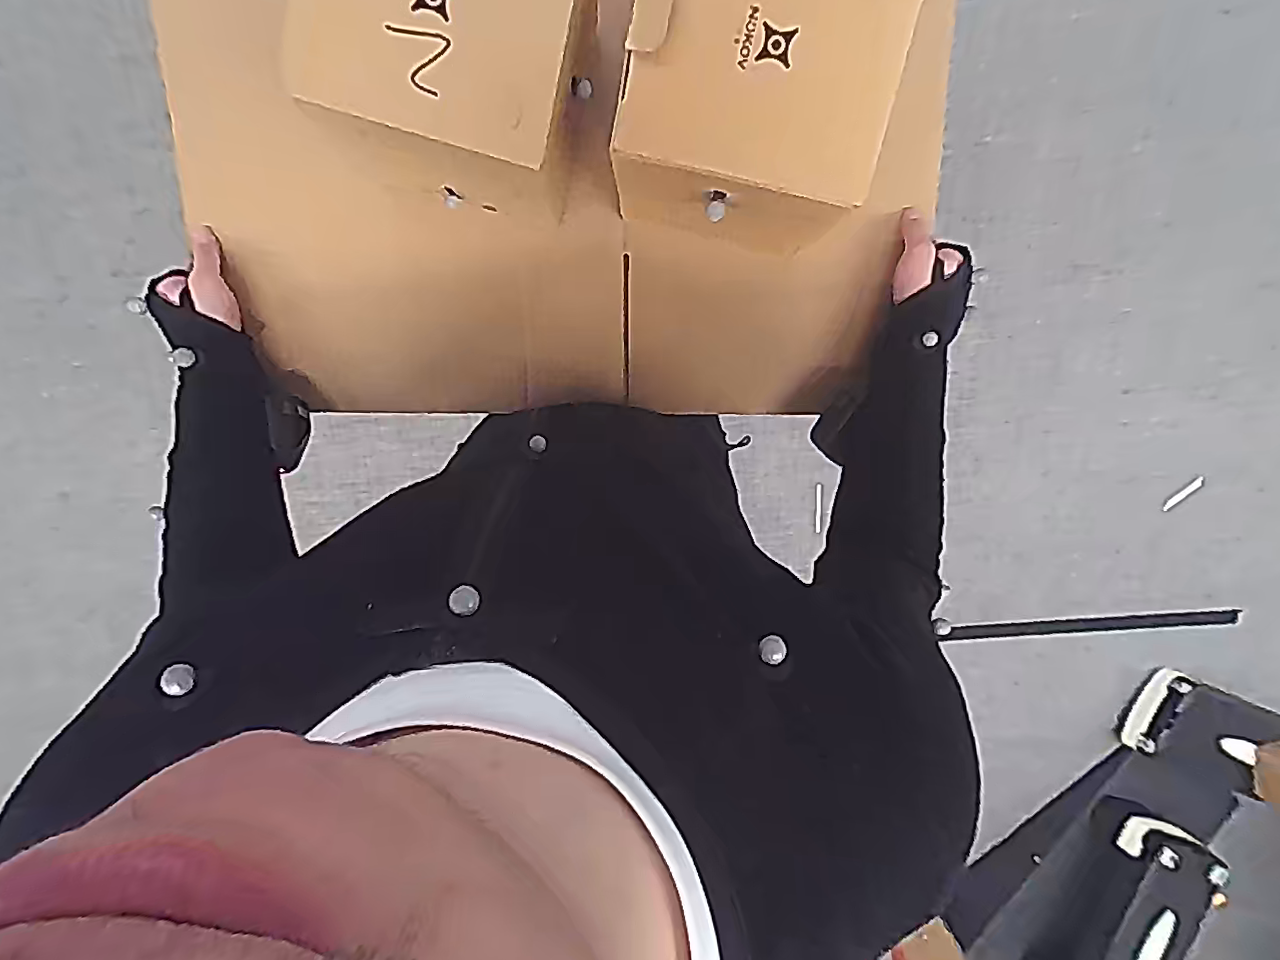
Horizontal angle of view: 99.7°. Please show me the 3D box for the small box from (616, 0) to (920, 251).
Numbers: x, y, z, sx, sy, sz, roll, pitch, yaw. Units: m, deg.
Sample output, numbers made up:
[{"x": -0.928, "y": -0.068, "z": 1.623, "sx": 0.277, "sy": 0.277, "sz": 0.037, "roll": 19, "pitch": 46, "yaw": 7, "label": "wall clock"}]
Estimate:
[{"x": 0.088, "y": -0.298, "z": 0.436, "sx": 0.179, "sy": 0.176, "sz": 0.168, "roll": 13, "pitch": 102, "yaw": 0, "label": "small box"}]
